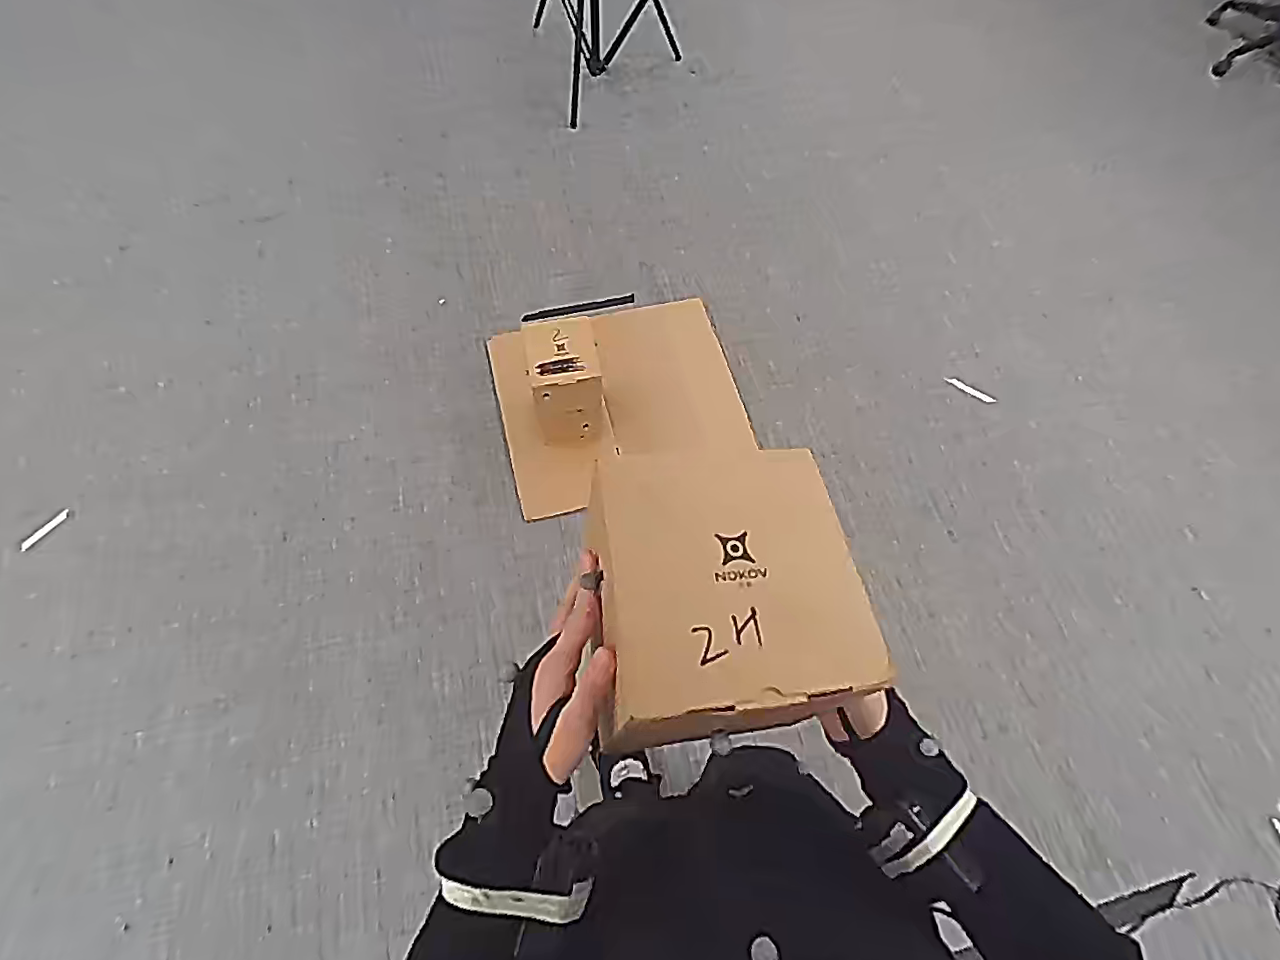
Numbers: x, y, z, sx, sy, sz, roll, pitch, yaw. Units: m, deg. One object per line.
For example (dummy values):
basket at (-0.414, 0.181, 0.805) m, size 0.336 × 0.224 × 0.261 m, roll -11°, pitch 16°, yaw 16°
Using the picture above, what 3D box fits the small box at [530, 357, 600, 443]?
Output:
small box at (-0.203, -0.213, 1.496) m, size 0.168 × 0.176 × 0.179 m, roll -9°, pitch 69°, yaw -8°

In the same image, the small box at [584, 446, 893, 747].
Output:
small box at (0.049, 0.092, 0.419) m, size 0.168 × 0.176 × 0.179 m, roll -3°, pitch 59°, yaw -12°
